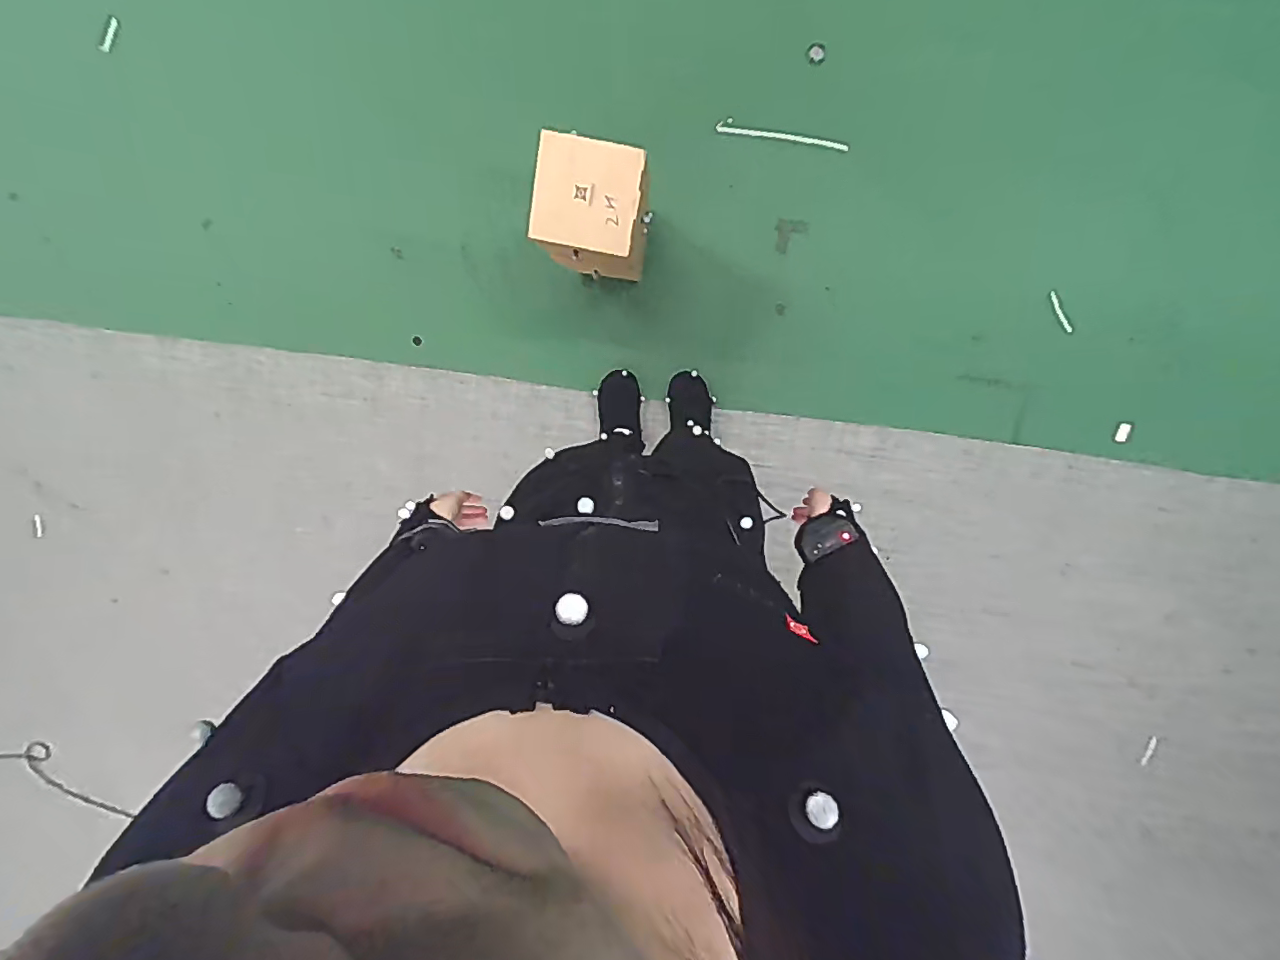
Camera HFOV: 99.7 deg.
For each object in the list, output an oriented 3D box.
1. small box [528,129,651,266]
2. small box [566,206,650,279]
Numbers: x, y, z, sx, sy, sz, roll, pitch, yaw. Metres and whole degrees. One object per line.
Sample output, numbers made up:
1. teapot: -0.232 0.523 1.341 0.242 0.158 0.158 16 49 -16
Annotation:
1. small box: -0.083 -0.486 0.955 0.179 0.176 0.168 12 106 0
2. small box: -0.070 -0.579 1.271 0.168 0.176 0.179 9 105 0
